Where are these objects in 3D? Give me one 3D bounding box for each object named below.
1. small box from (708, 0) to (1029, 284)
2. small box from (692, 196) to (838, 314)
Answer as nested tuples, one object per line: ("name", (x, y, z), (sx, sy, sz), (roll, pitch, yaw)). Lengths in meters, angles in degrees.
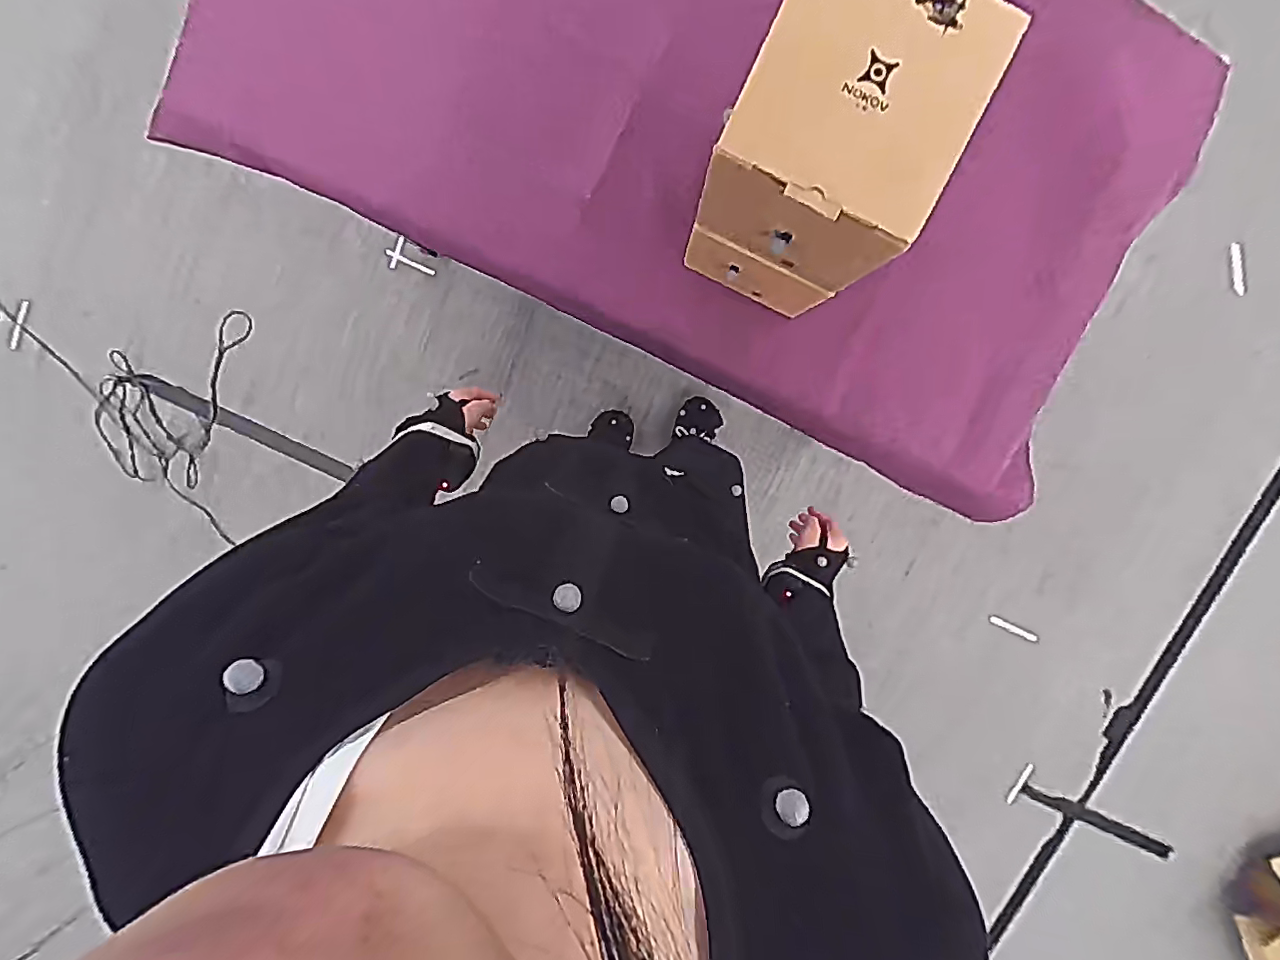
("small box", (0.169, -0.295, 0.469), (0.168, 0.176, 0.179), (26, 98, -3))
("small box", (0.168, -0.315, 0.632), (0.168, 0.176, 0.179), (25, 97, -3))
